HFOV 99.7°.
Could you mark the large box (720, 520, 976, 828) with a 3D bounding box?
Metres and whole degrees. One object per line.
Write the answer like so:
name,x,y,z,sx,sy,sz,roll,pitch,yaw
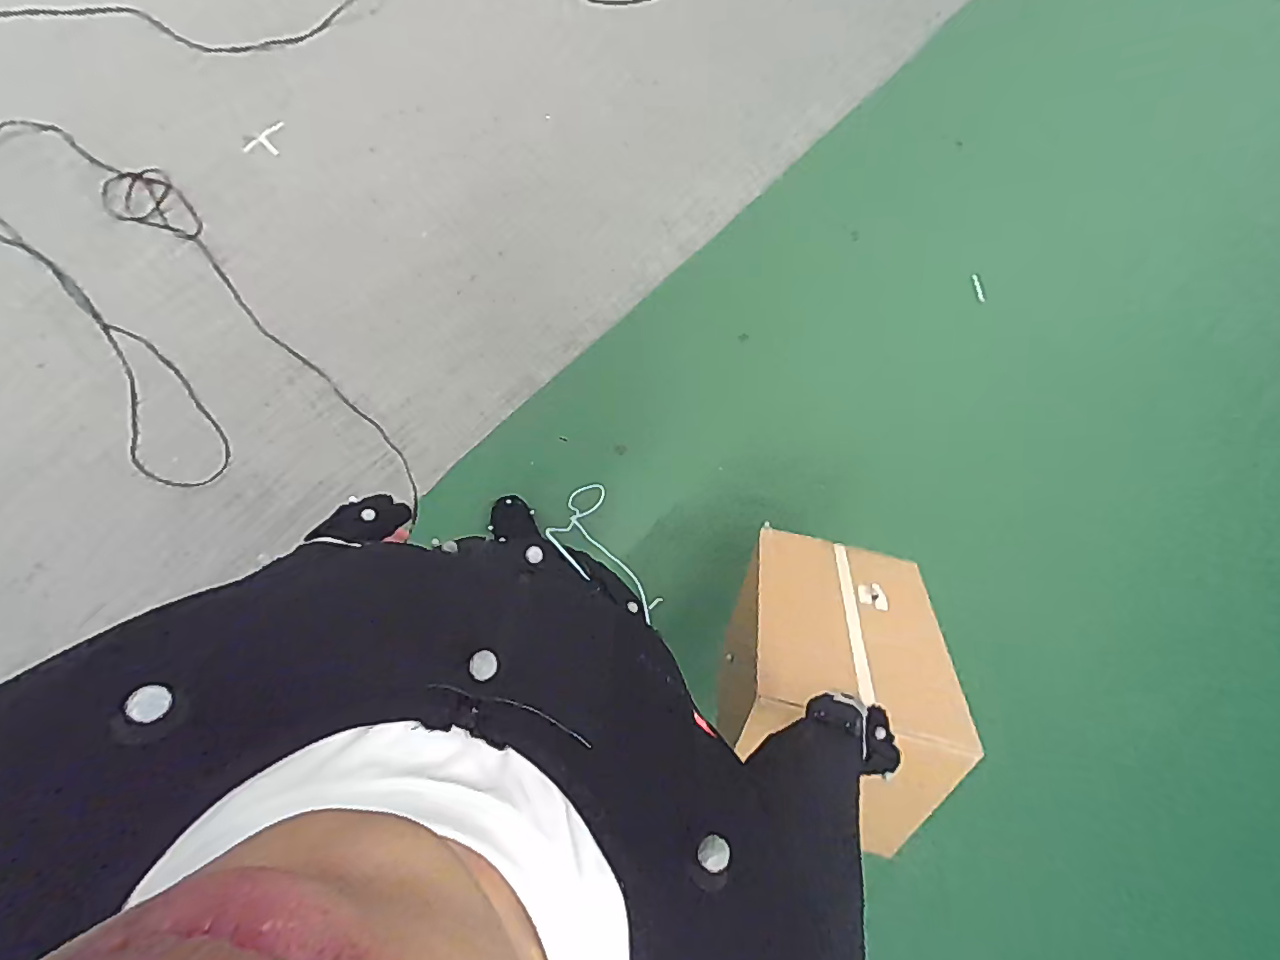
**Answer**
large box,0.336,0.340,1.006,0.320,0.408,0.320,13,123,4
